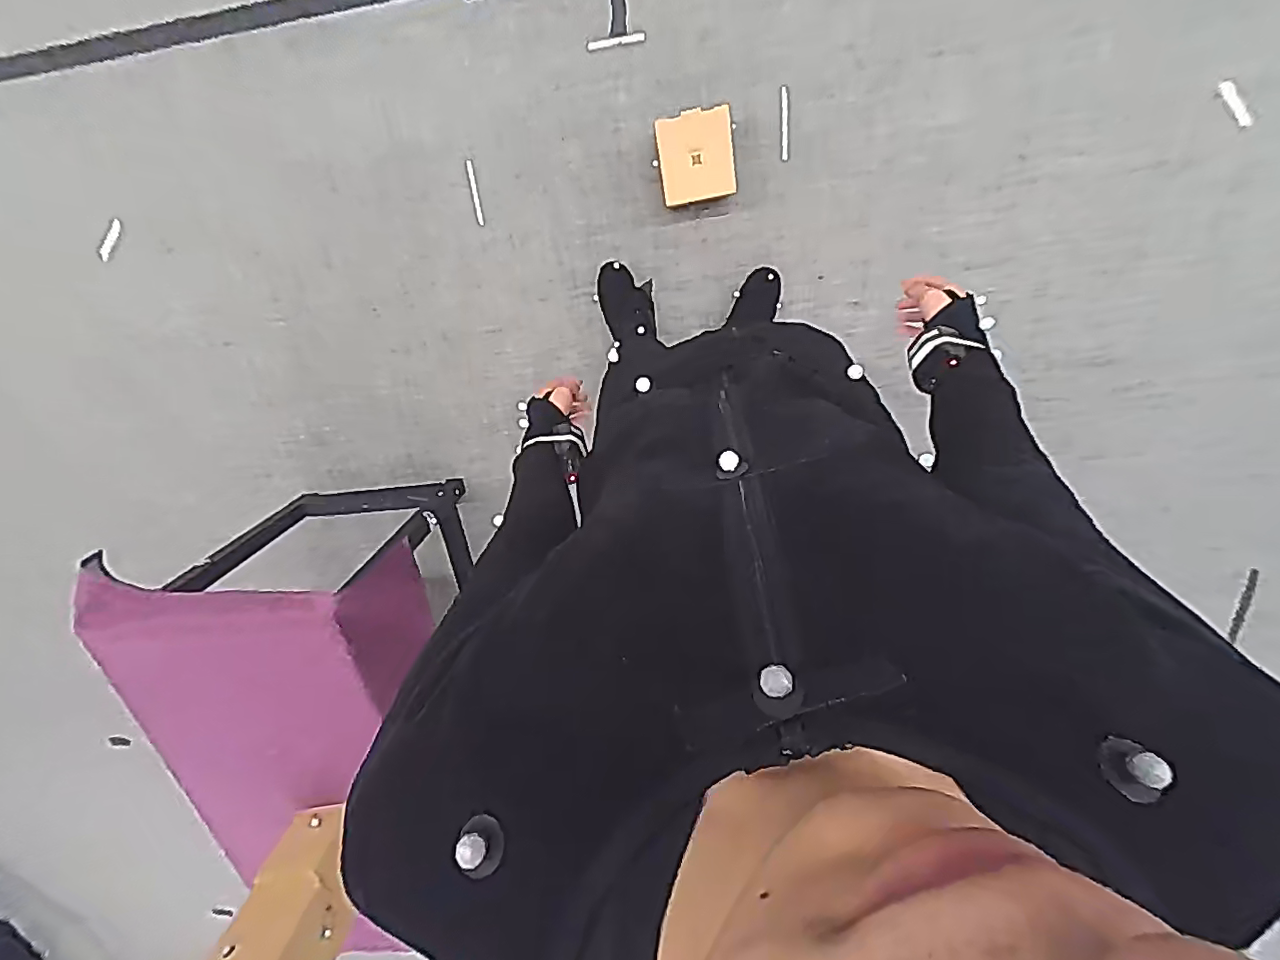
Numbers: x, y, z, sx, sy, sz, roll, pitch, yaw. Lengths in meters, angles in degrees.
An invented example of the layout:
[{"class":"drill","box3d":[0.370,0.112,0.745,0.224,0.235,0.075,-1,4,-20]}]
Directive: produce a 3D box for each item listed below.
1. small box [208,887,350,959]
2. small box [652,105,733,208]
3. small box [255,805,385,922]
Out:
[{"class":"small box","box3d":[-0.765,1.003,1.149,0.179,0.176,0.168,-10,113,9]},{"class":"small box","box3d":[0.127,-0.756,1.284,0.168,0.176,0.179,-8,113,8]},{"class":"small box","box3d":[-0.749,0.916,1.290,0.168,0.176,0.179,-15,111,11]}]
